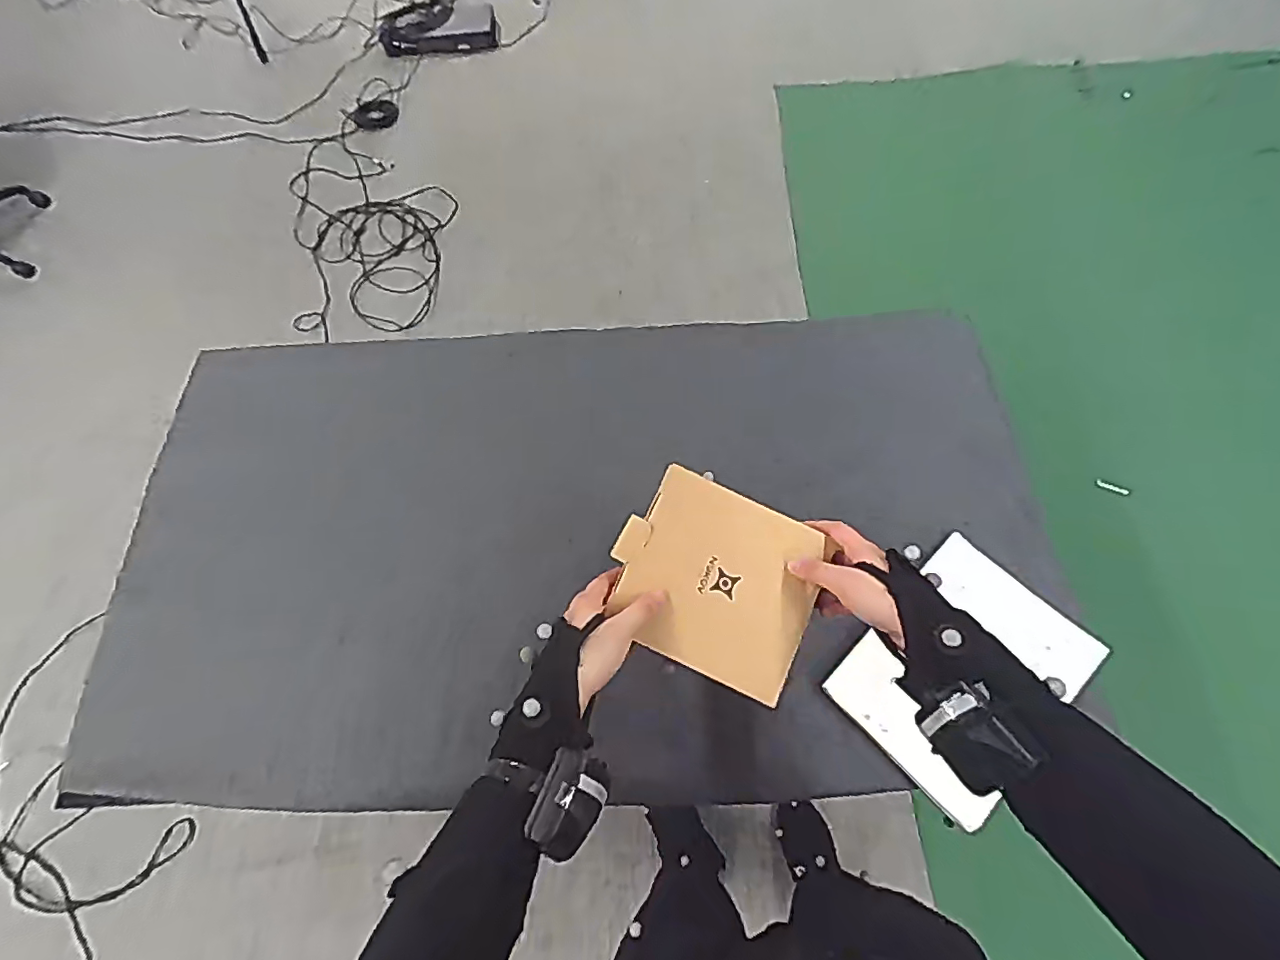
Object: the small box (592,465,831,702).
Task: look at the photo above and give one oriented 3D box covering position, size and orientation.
[{"bbox_3d":[0.066,0.105,0.574,0.179,0.176,0.168,24,79,4],"label":"small box"}]
